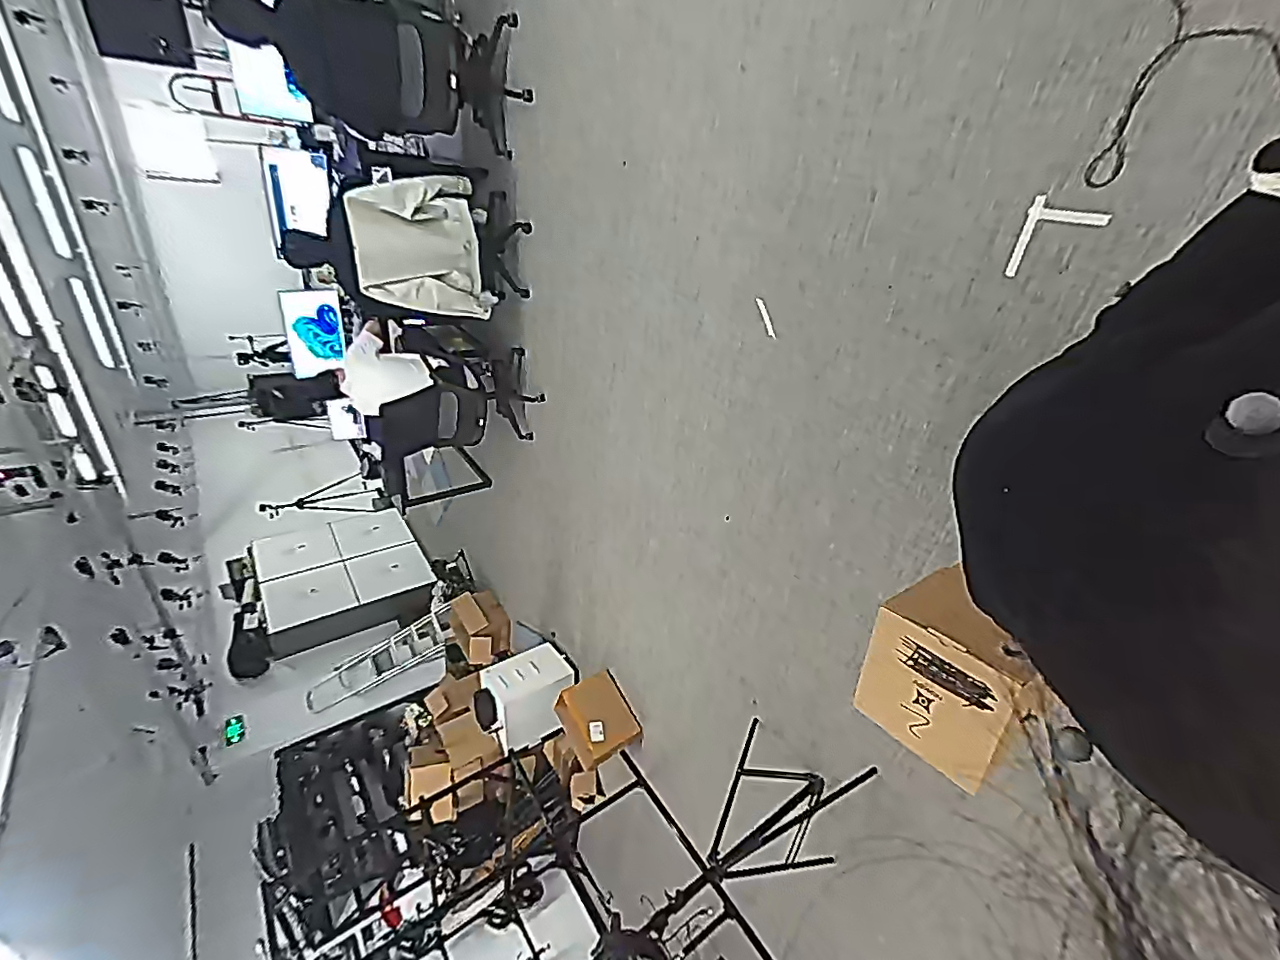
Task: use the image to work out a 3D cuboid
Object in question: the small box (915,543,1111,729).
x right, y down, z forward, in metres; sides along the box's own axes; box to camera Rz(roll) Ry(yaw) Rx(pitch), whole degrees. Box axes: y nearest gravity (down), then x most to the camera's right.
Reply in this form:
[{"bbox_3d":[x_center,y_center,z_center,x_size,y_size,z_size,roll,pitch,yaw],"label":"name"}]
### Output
[{"bbox_3d":[0.547,0.214,0.795,0.168,0.176,0.179,32,127,47],"label":"small box"}]
